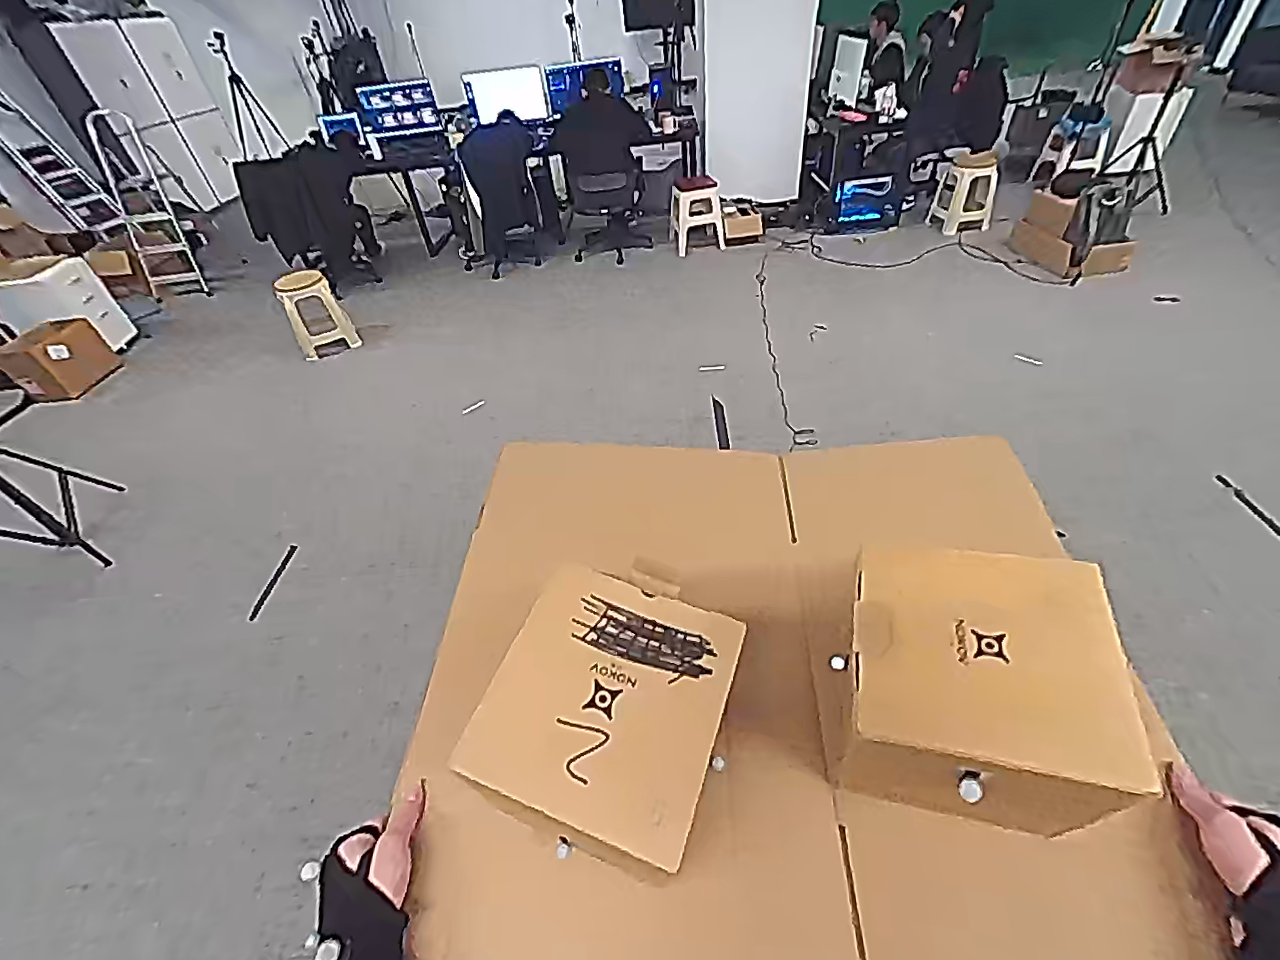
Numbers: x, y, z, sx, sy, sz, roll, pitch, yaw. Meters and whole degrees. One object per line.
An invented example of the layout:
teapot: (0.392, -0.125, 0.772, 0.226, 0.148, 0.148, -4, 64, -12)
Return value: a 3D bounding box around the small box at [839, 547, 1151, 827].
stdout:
small box: (0.275, 0.180, 0.468, 0.179, 0.176, 0.168, 4, 51, 19)
